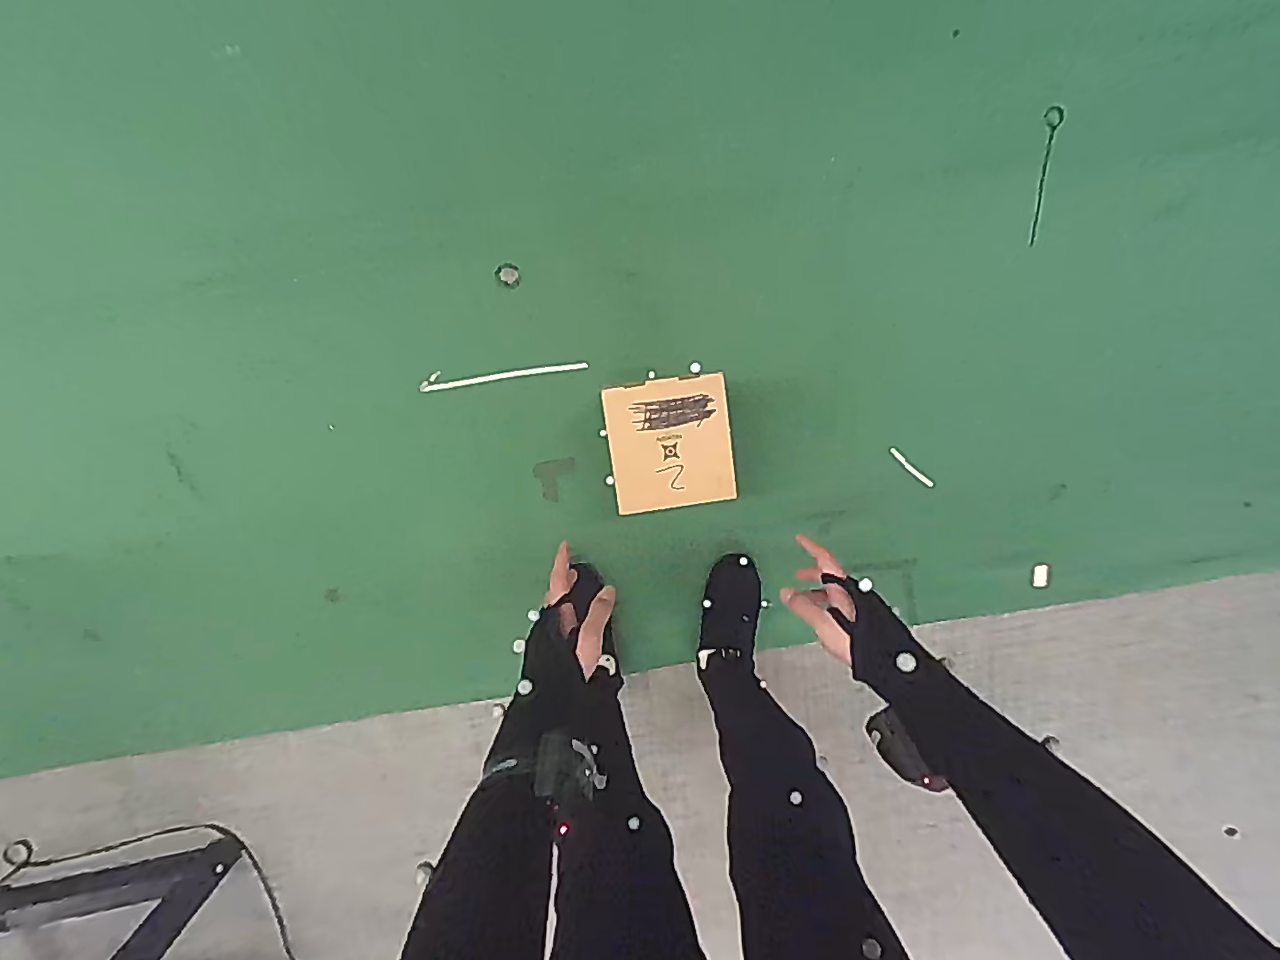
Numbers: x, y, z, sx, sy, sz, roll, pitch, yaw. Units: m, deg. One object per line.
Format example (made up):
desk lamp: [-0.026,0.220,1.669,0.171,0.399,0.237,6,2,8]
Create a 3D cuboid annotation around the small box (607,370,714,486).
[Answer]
small box: [0.031,-0.098,0.964,0.168,0.176,0.179,-7,101,0]
